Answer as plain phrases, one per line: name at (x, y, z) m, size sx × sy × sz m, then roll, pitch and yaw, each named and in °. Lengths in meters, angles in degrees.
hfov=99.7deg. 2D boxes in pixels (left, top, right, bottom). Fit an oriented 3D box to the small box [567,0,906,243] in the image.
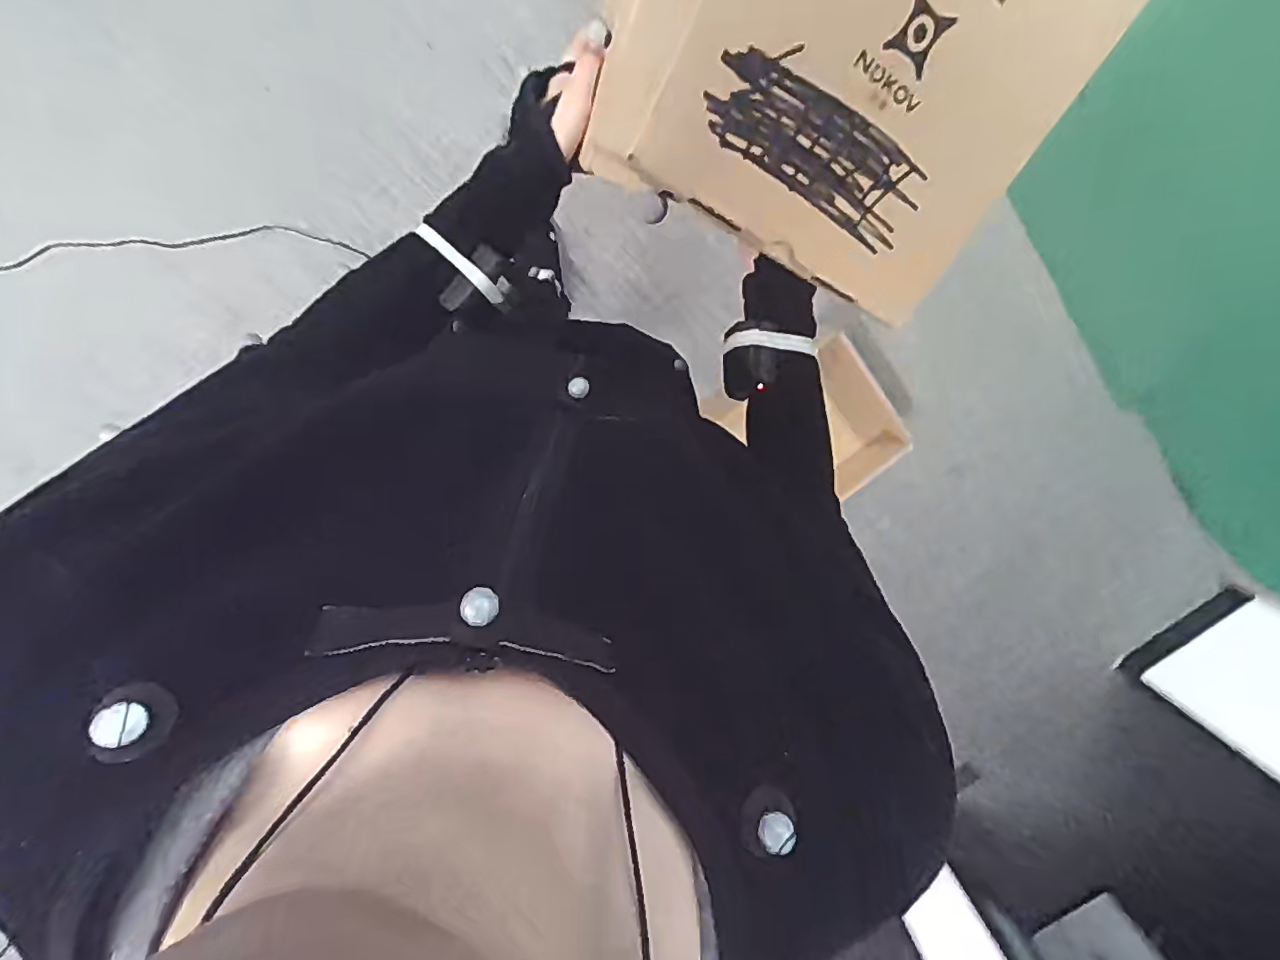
small box at (0.049, -0.309, 0.414) m, size 0.179 × 0.176 × 0.168 m, roll 14°, pitch 121°, yaw -19°
